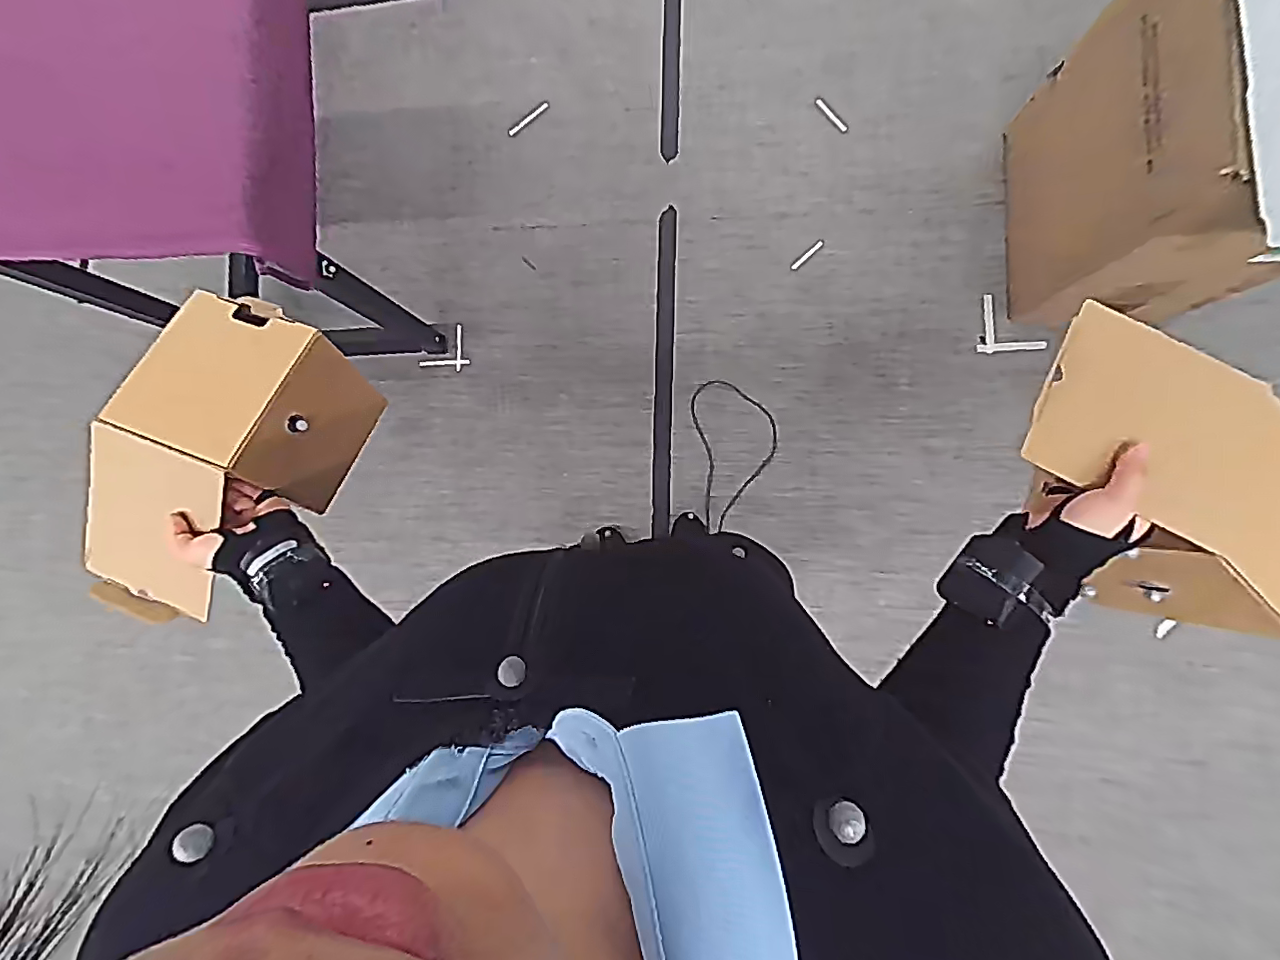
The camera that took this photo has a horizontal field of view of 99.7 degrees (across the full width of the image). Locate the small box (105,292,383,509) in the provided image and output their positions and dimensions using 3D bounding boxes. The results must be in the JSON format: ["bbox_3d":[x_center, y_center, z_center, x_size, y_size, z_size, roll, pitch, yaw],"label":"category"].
[{"bbox_3d":[-0.446,-0.084,0.647,0.168,0.176,0.179,19,71,8],"label":"small box"}]
